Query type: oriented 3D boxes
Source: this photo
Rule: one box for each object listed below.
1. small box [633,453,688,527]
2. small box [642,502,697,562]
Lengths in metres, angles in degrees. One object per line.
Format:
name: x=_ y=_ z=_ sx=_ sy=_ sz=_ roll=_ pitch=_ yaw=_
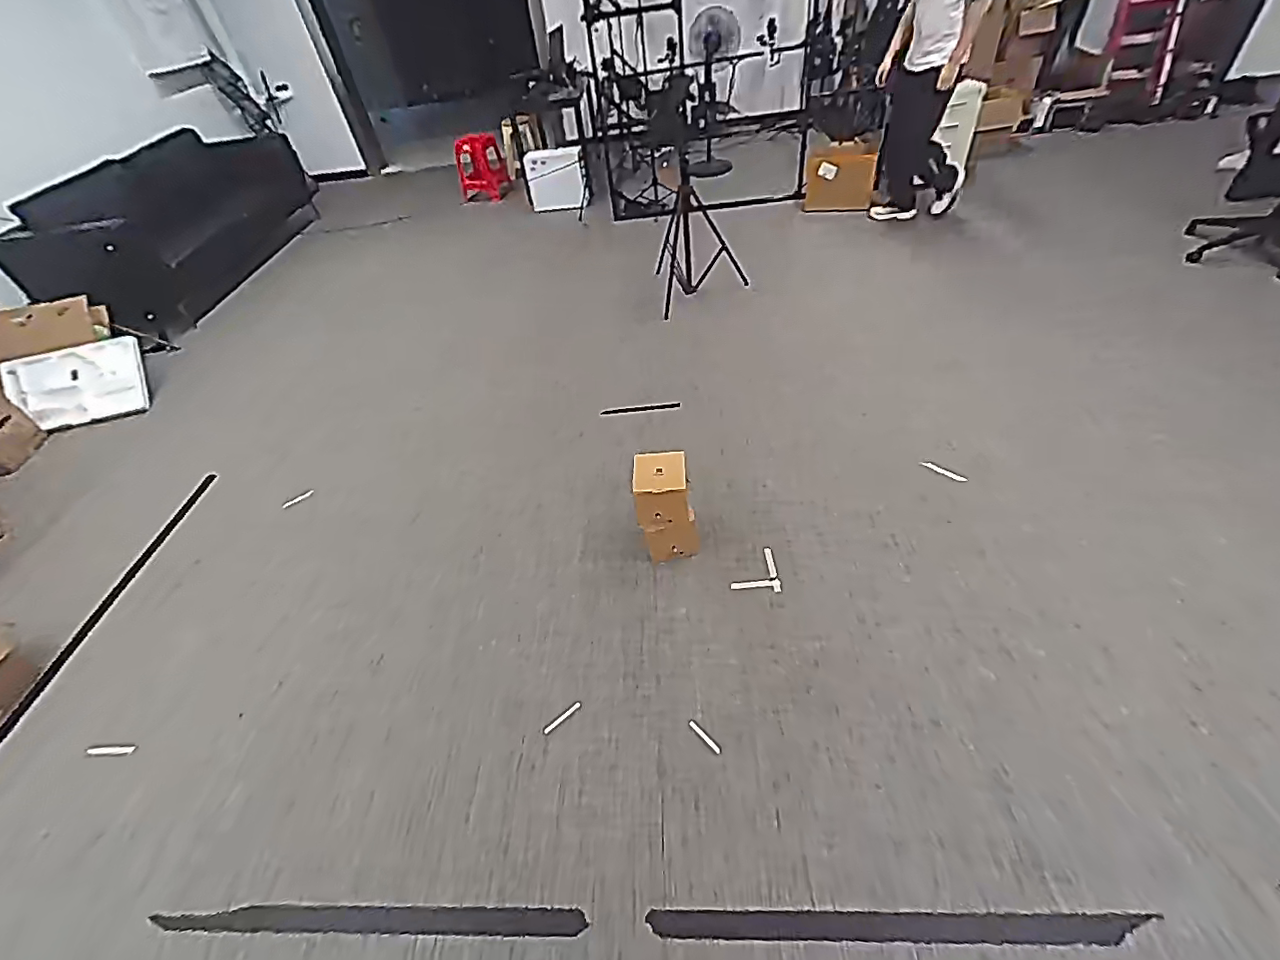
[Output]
small box: x=0.069 y=0.033 z=1.757 sx=0.168 sy=0.176 sz=0.179 roll=-4 pitch=45 yaw=5
small box: x=0.094 y=0.153 z=1.865 sx=0.168 sy=0.176 sz=0.179 roll=-13 pitch=44 yaw=-3
